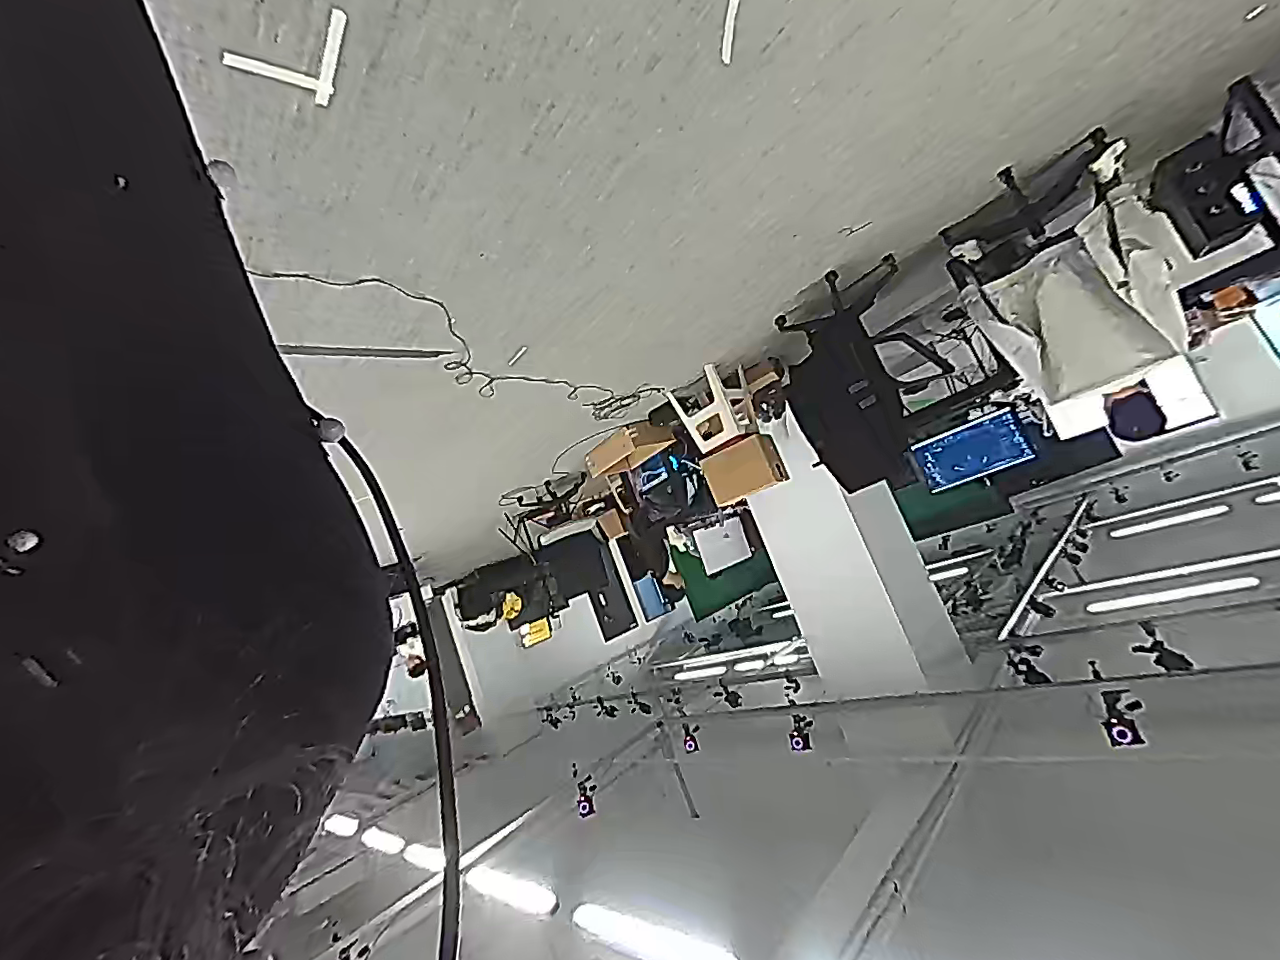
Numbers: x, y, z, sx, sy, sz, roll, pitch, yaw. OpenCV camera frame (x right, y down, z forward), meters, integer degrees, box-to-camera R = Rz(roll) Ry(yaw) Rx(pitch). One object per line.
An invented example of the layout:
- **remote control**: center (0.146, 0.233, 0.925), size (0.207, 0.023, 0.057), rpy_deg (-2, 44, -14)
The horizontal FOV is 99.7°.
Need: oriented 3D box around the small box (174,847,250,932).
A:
- **small box**: center (-1.491, 1.409, 1.880), size (0.179, 0.176, 0.168), rpy_deg (-12, 166, -43)
